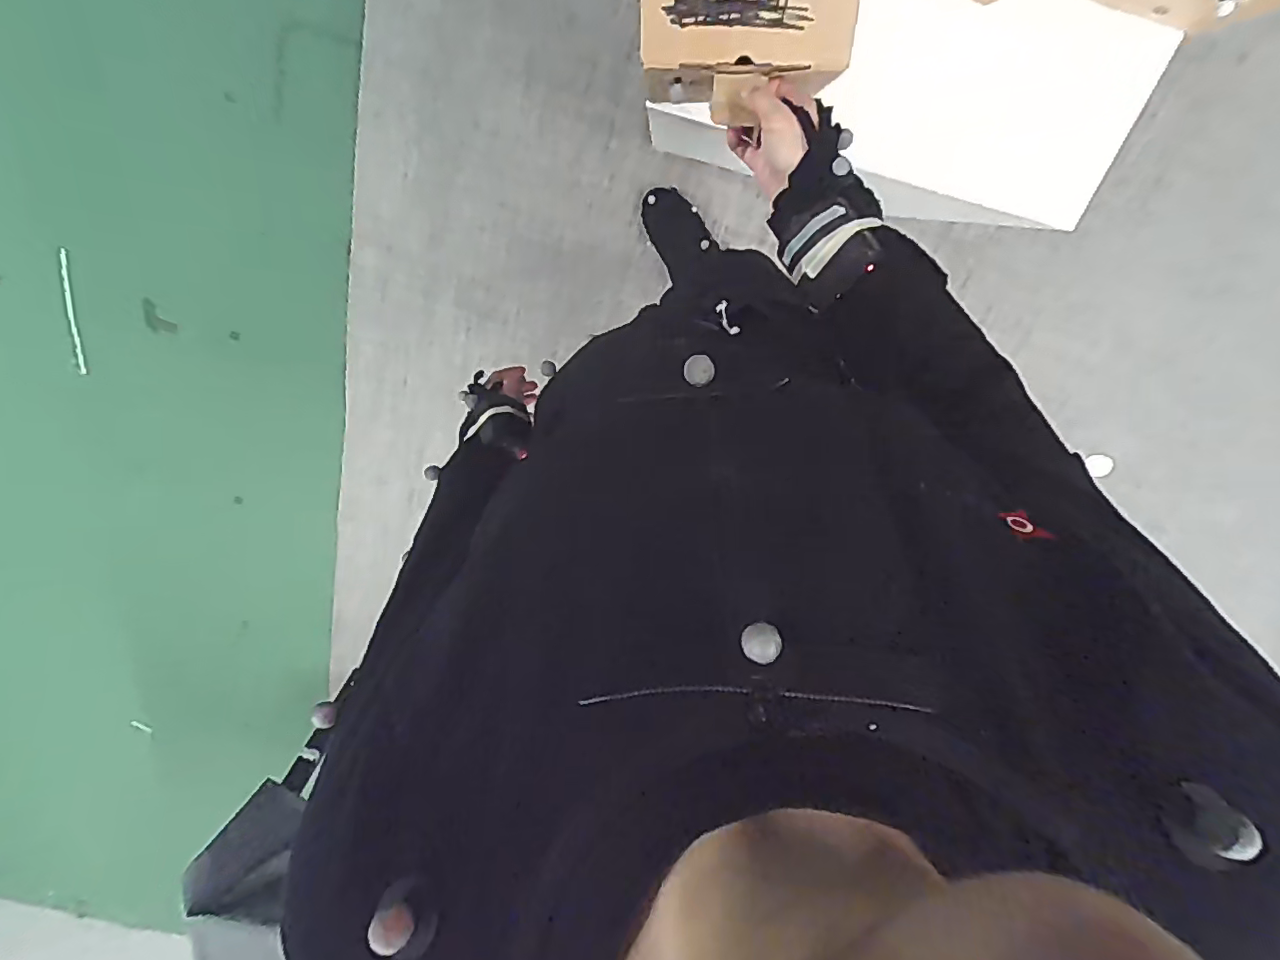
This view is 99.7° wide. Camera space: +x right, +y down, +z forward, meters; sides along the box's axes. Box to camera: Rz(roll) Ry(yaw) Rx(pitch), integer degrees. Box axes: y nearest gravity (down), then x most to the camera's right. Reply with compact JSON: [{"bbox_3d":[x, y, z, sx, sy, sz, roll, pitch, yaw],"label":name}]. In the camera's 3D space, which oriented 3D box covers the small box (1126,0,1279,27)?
[{"bbox_3d":[0.486,-0.491,0.414,0.168,0.176,0.179,13,117,-5],"label":"small box"}]
